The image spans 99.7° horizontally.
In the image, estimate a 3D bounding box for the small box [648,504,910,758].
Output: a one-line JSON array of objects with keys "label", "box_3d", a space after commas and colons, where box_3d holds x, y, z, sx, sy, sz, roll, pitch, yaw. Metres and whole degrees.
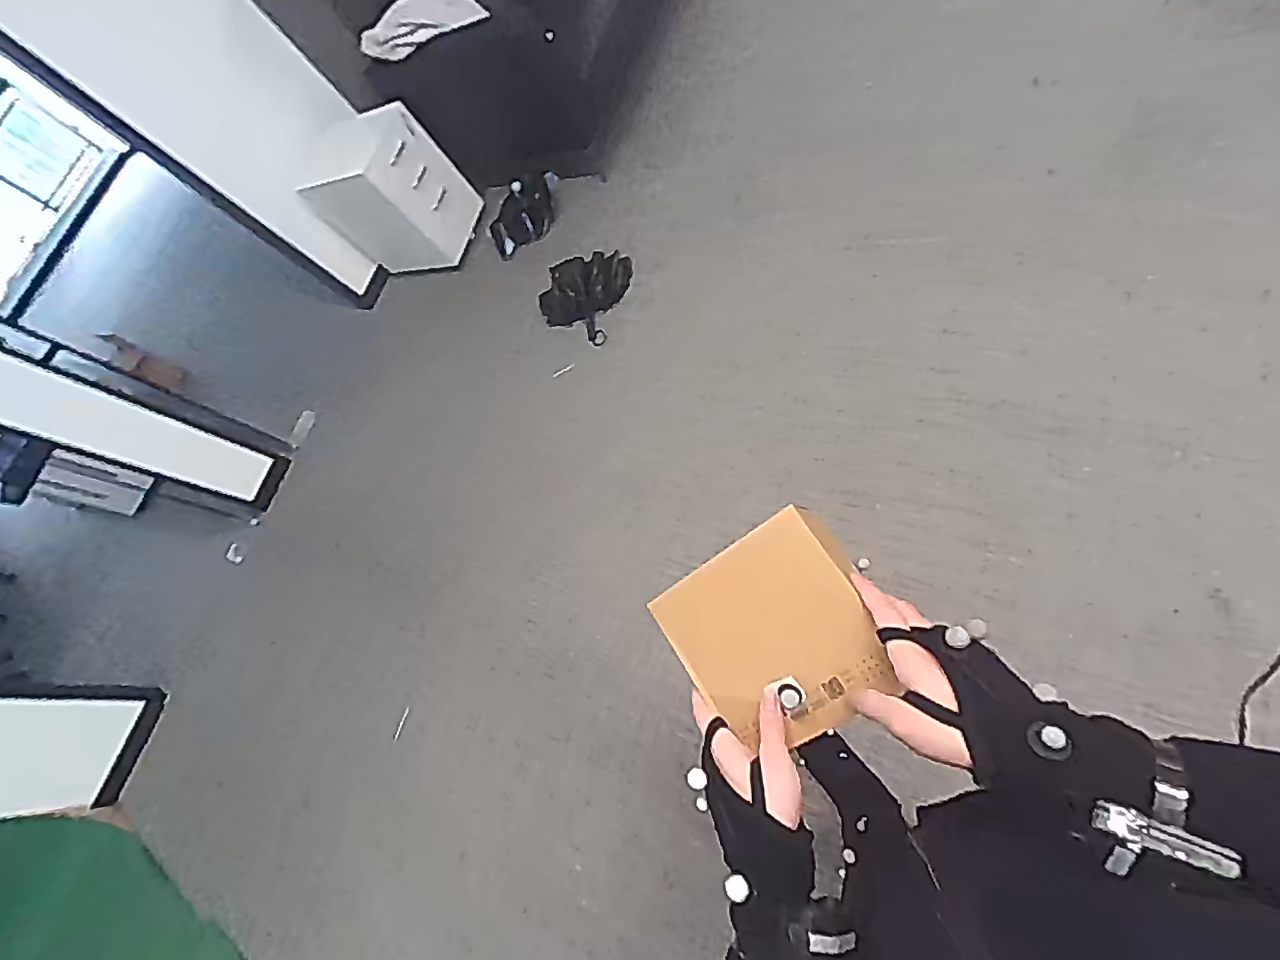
[{"label": "small box", "box_3d": [0.142, 0.142, 0.540, 0.168, 0.179, 0.176, -38, 72, 15]}]
